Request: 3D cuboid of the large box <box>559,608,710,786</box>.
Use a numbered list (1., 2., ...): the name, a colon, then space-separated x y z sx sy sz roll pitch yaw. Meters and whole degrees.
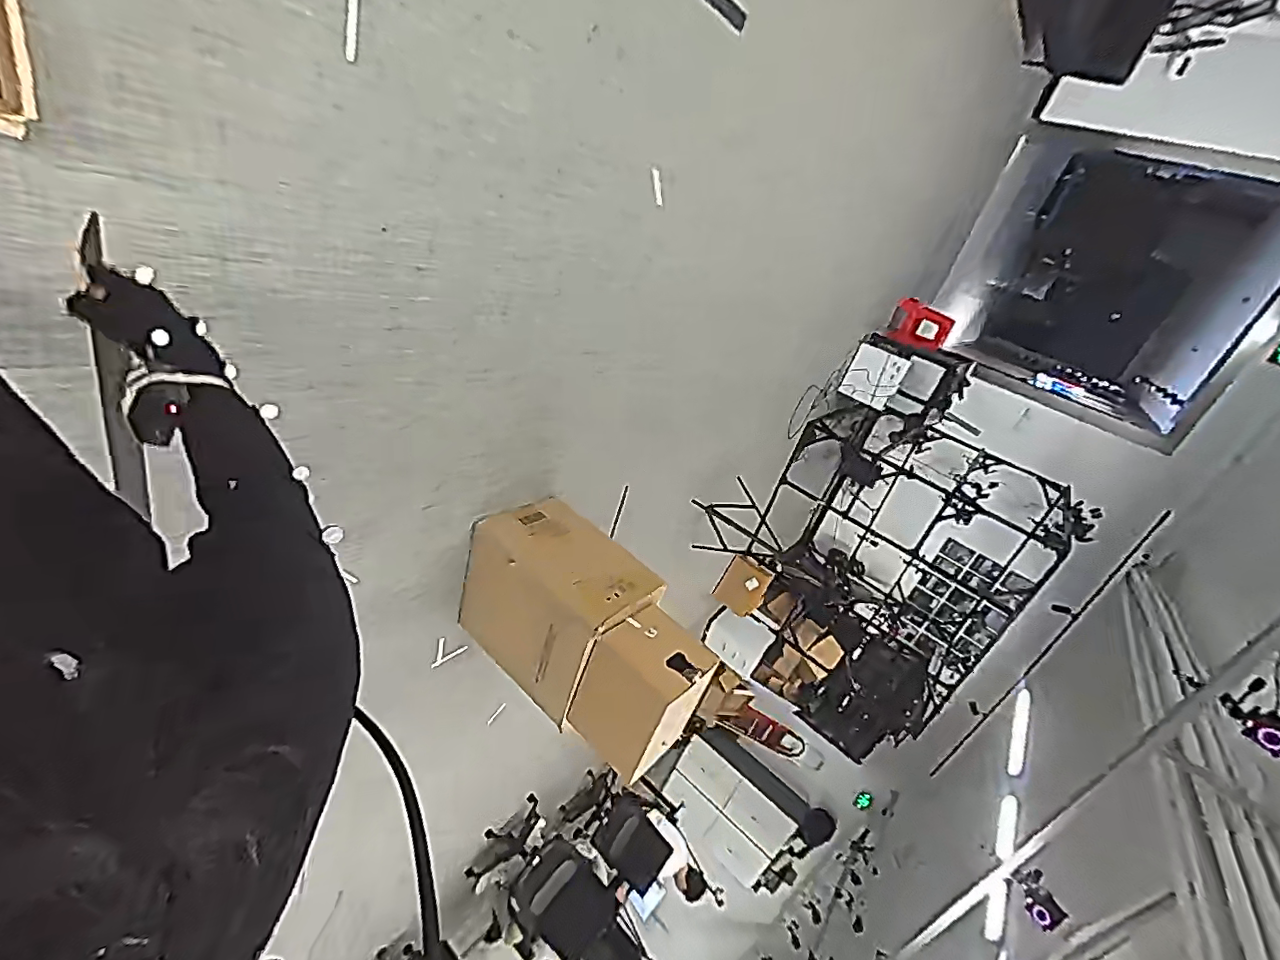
1. large box: -0.027 0.719 1.835 0.320 0.320 0.408 -15 134 -51
